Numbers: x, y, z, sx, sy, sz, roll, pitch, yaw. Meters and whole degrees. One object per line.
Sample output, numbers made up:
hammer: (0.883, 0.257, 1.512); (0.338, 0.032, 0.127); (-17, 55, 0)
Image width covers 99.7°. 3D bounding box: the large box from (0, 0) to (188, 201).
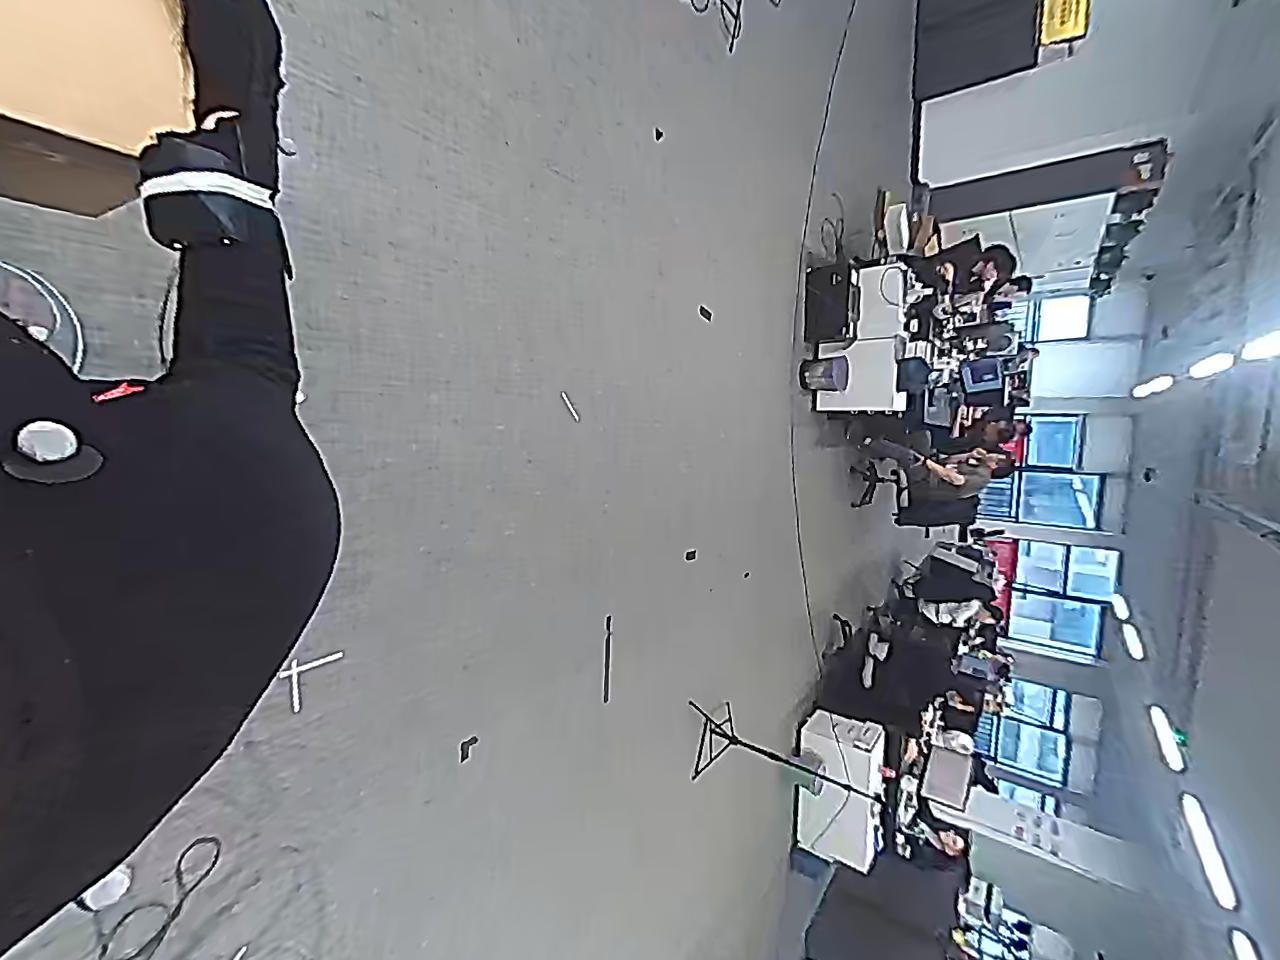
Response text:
large box: (-0.568, -0.403, 0.311); (0.408, 0.320, 0.320); (-7, 106, -55)
